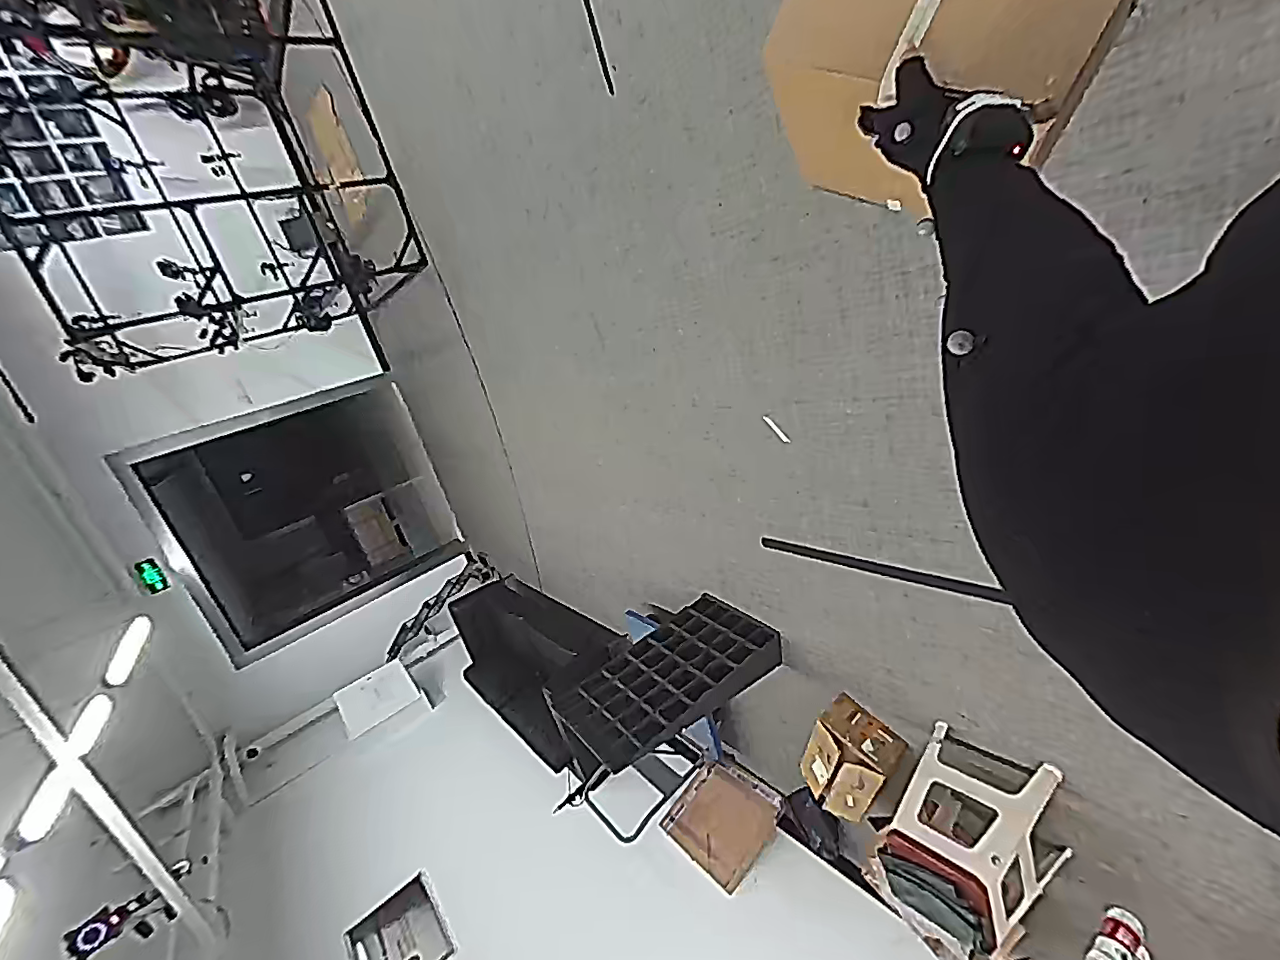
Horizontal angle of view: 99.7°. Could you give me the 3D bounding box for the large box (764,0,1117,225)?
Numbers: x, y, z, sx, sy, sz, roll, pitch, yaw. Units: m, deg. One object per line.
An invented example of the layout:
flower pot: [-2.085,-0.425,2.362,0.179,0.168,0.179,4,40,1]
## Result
large box: [0.407,-0.604,0.665,0.320,0.320,0.408,30,106,23]
